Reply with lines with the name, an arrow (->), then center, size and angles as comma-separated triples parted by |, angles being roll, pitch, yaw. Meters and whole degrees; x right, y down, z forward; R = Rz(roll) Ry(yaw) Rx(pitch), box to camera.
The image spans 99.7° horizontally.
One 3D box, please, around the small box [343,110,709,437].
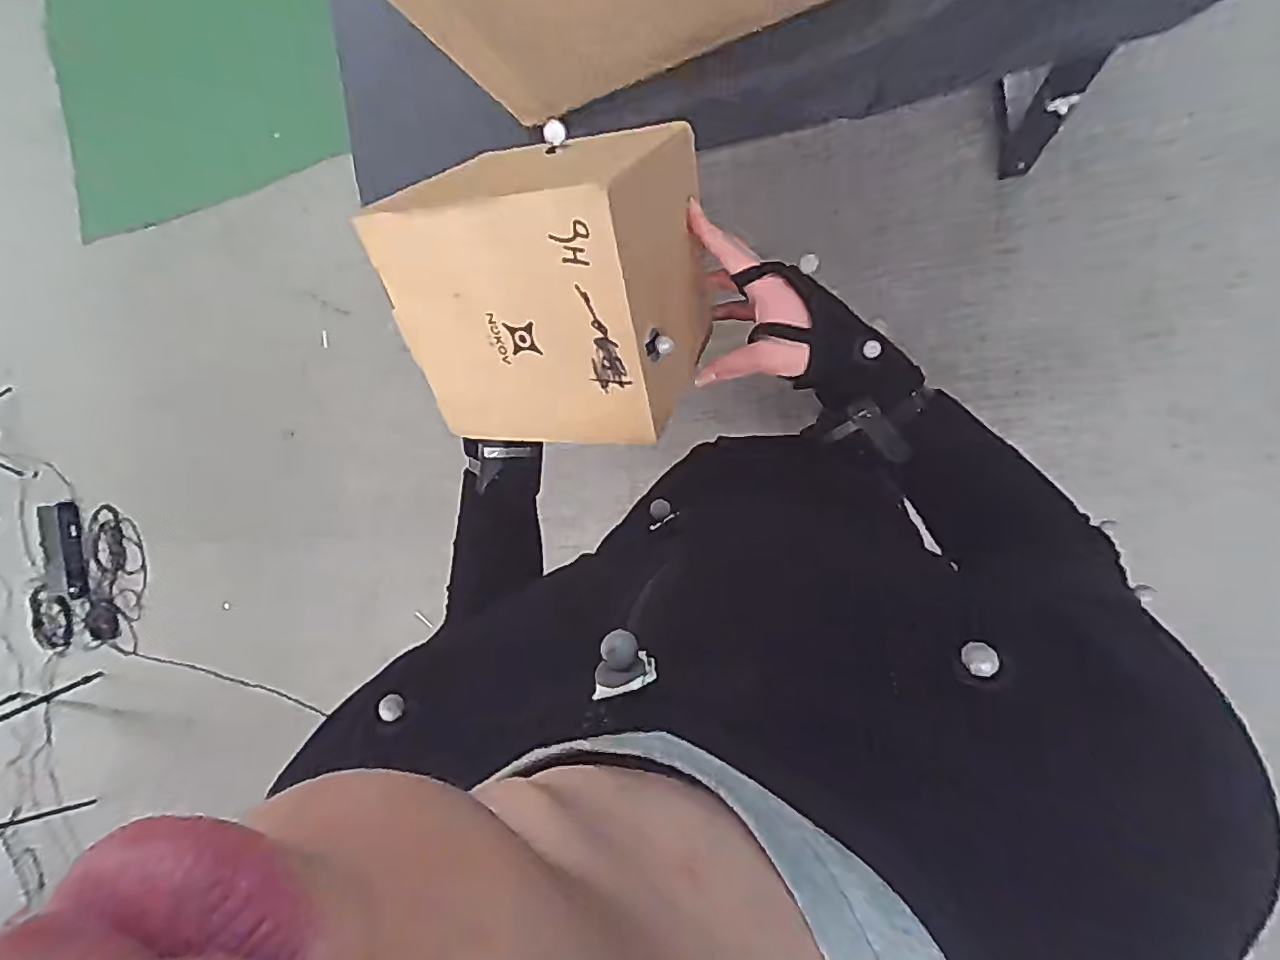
small box -> -0.060, -0.151, 0.398 | 0.179, 0.176, 0.168 | 6, 133, 22
